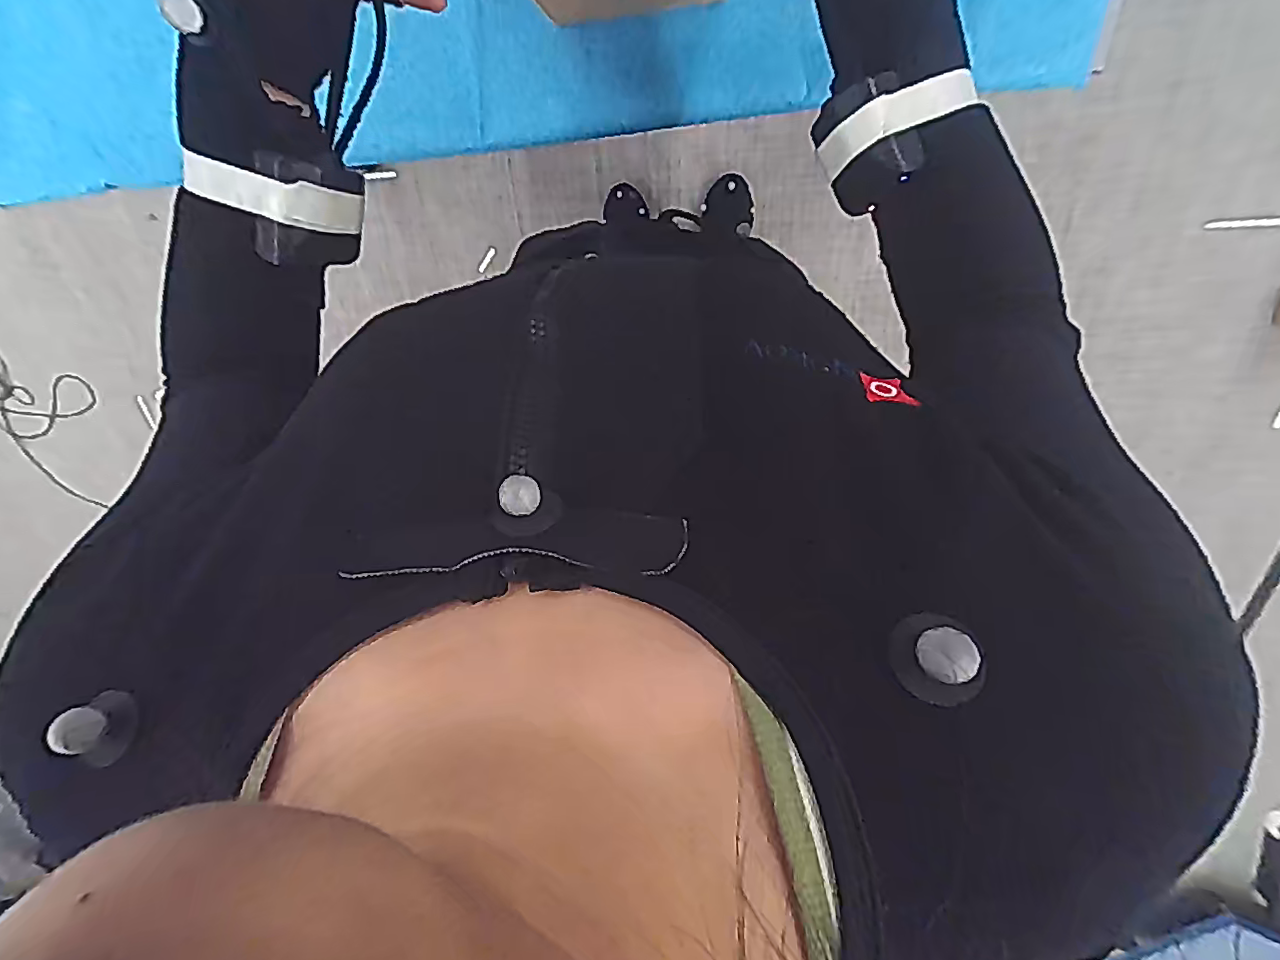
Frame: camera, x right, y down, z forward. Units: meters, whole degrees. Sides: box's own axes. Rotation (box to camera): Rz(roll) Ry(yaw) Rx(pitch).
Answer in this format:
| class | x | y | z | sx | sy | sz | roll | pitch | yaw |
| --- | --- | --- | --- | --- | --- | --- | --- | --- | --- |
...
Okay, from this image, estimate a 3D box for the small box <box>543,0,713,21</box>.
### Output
| class | x | y | z | sx | sy | sz | roll | pitch | yaw |
| --- | --- | --- | --- | --- | --- | --- | --- | --- | --- |
| small box | -0.014 | -0.485 | 0.417 | 0.179 | 0.176 | 0.168 | -1 | 119 | 7 |
